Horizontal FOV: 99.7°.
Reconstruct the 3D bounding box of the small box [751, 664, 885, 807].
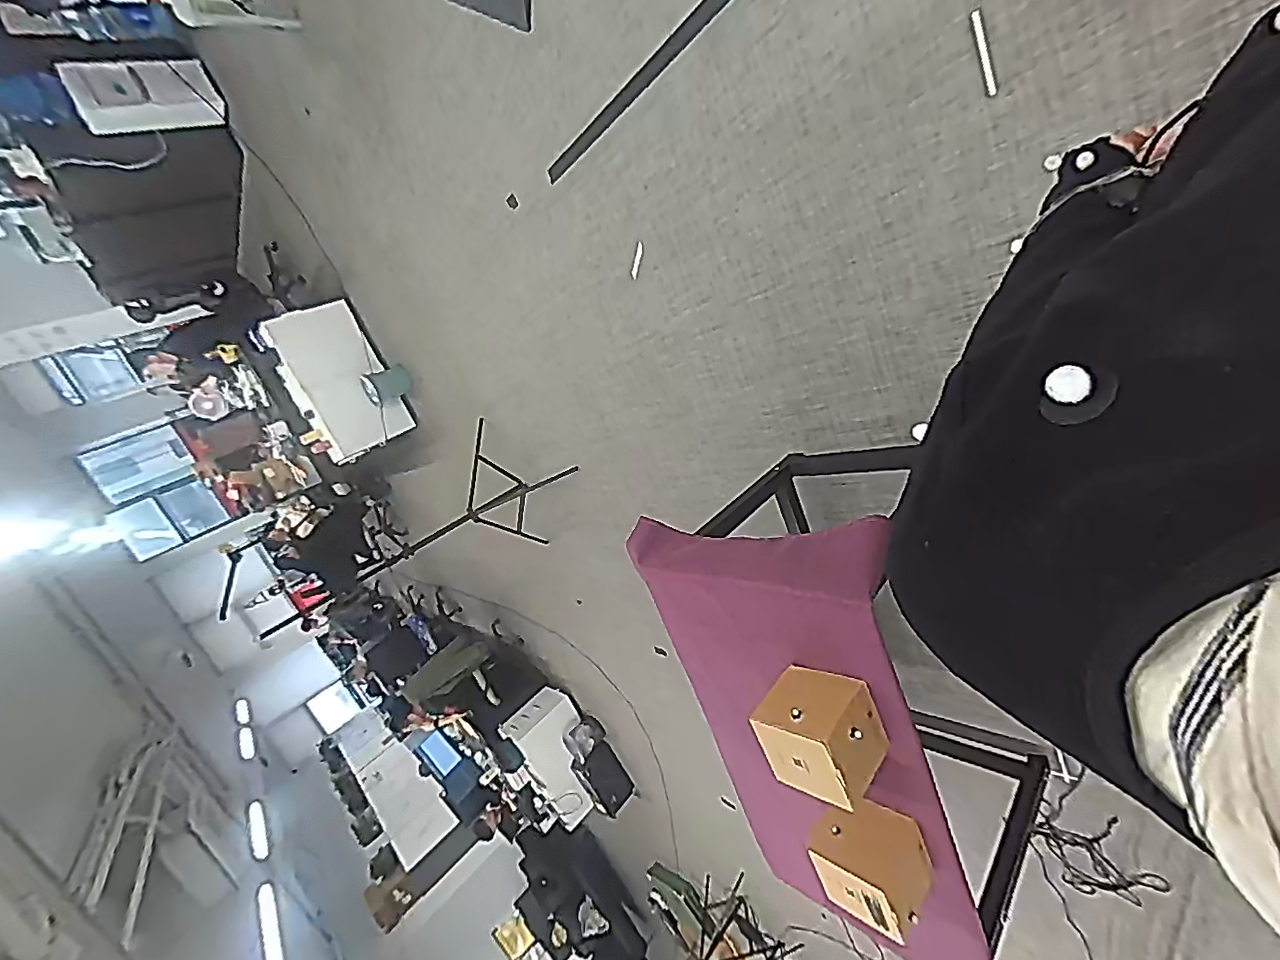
[{"bbox_3d":[0.360,0.492,1.071,0.179,0.176,0.168,-7,112,52],"label":"small box"}]
